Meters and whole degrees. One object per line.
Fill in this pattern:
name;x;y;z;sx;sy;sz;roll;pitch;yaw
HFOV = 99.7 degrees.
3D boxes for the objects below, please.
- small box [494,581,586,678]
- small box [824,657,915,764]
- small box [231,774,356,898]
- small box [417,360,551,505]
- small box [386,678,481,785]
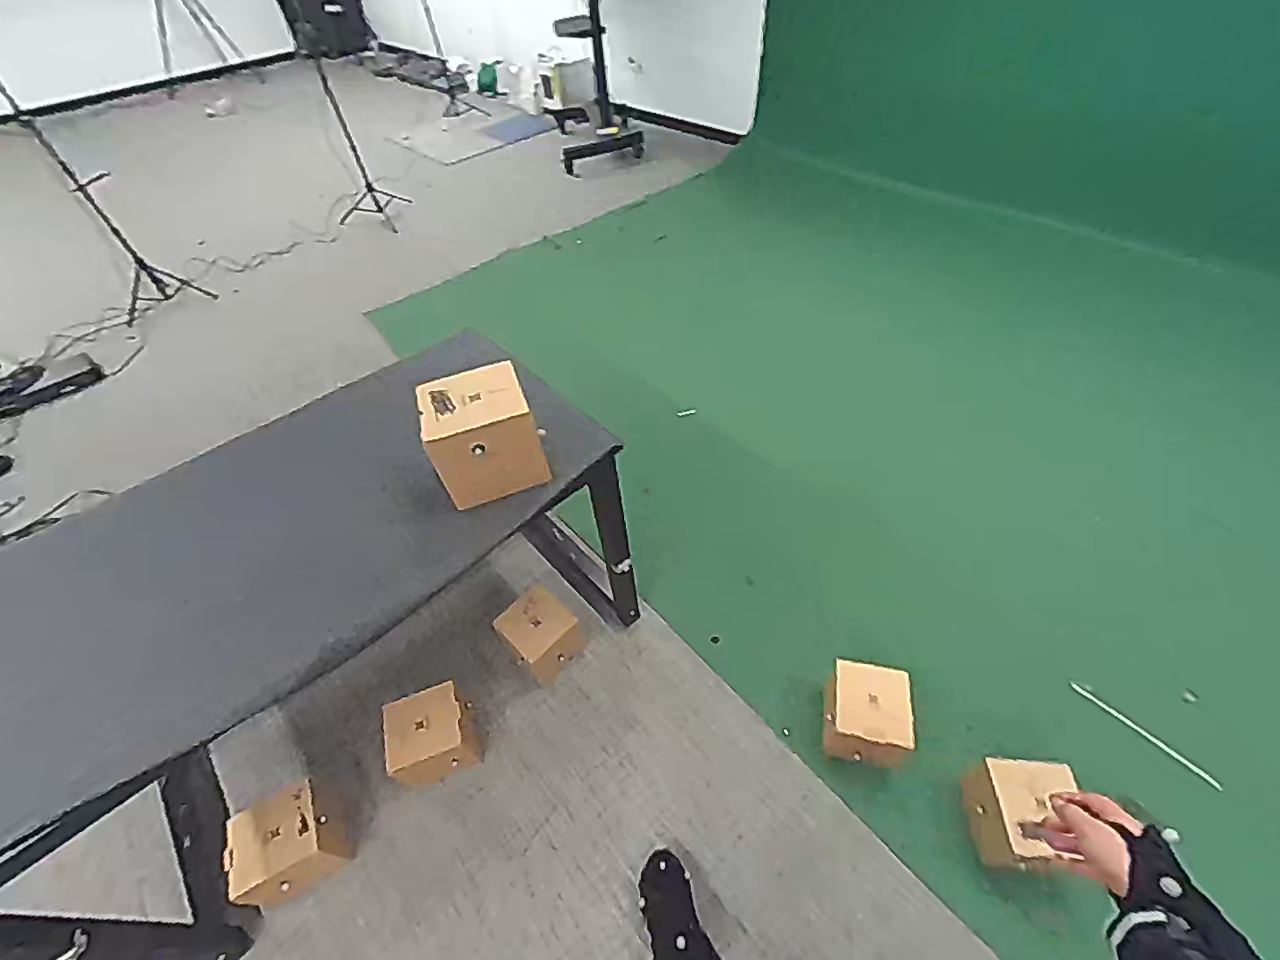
small box;-0.270;0.422;1.501;0.179;0.176;0.168;34;59;29
small box;0.546;0.559;1.310;0.168;0.176;0.179;8;51;11
small box;-0.777;0.807;1.220;0.179;0.176;0.168;-26;52;-15
small box;-0.276;-0.082;0.968;0.179;0.176;0.168;-19;48;-9
small box;-0.508;0.629;1.348;0.179;0.176;0.168;-20;50;-9
